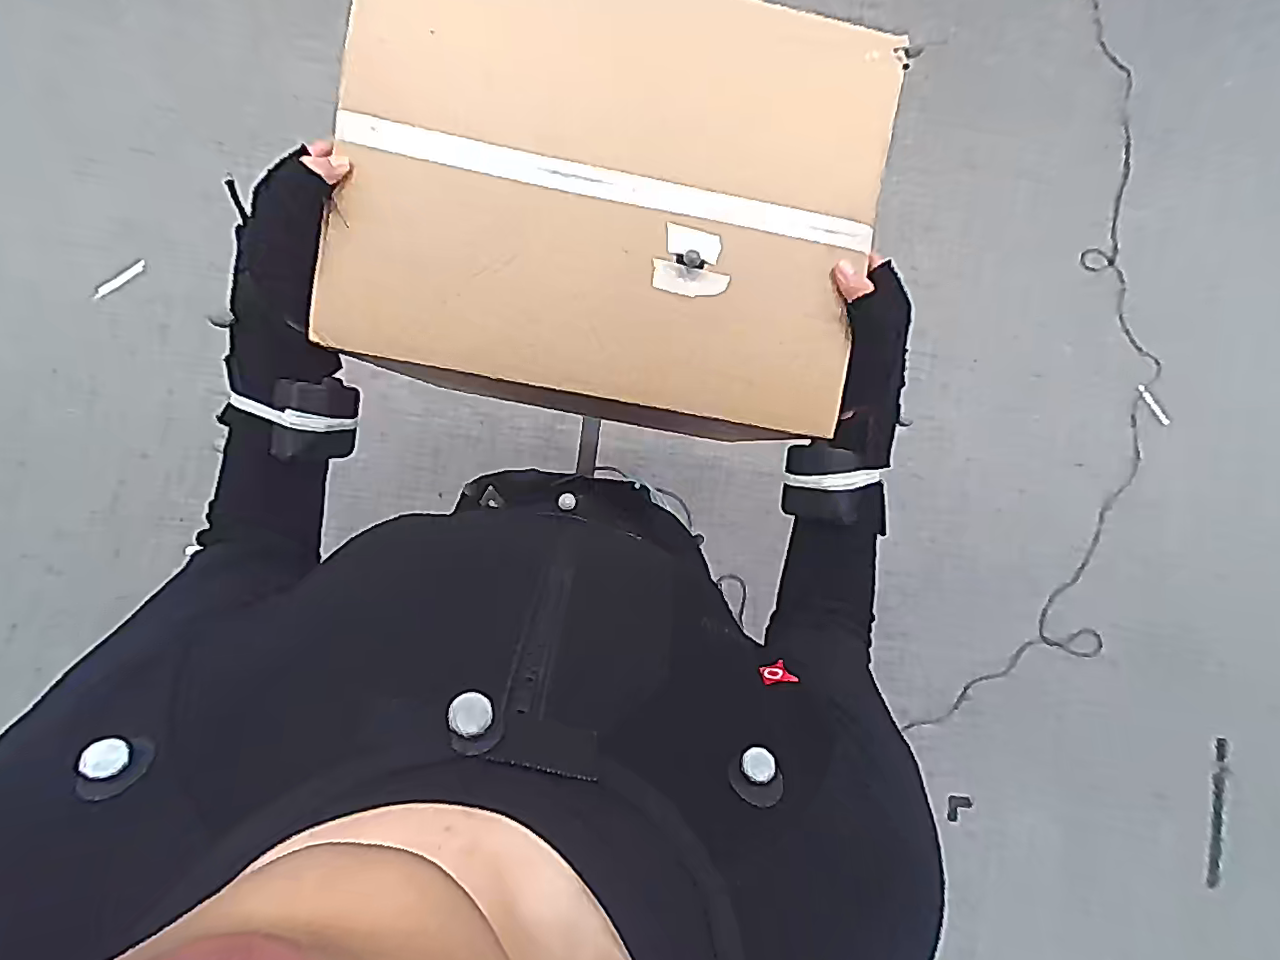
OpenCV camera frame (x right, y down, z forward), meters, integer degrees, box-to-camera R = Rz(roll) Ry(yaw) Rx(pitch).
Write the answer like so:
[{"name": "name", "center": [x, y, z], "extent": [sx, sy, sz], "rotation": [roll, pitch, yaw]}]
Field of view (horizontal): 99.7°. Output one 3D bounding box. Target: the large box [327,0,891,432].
[{"name": "large box", "center": [-0.033, -0.234, 0.564], "extent": [0.408, 0.320, 0.320], "rotation": [10, 94, -6]}]
